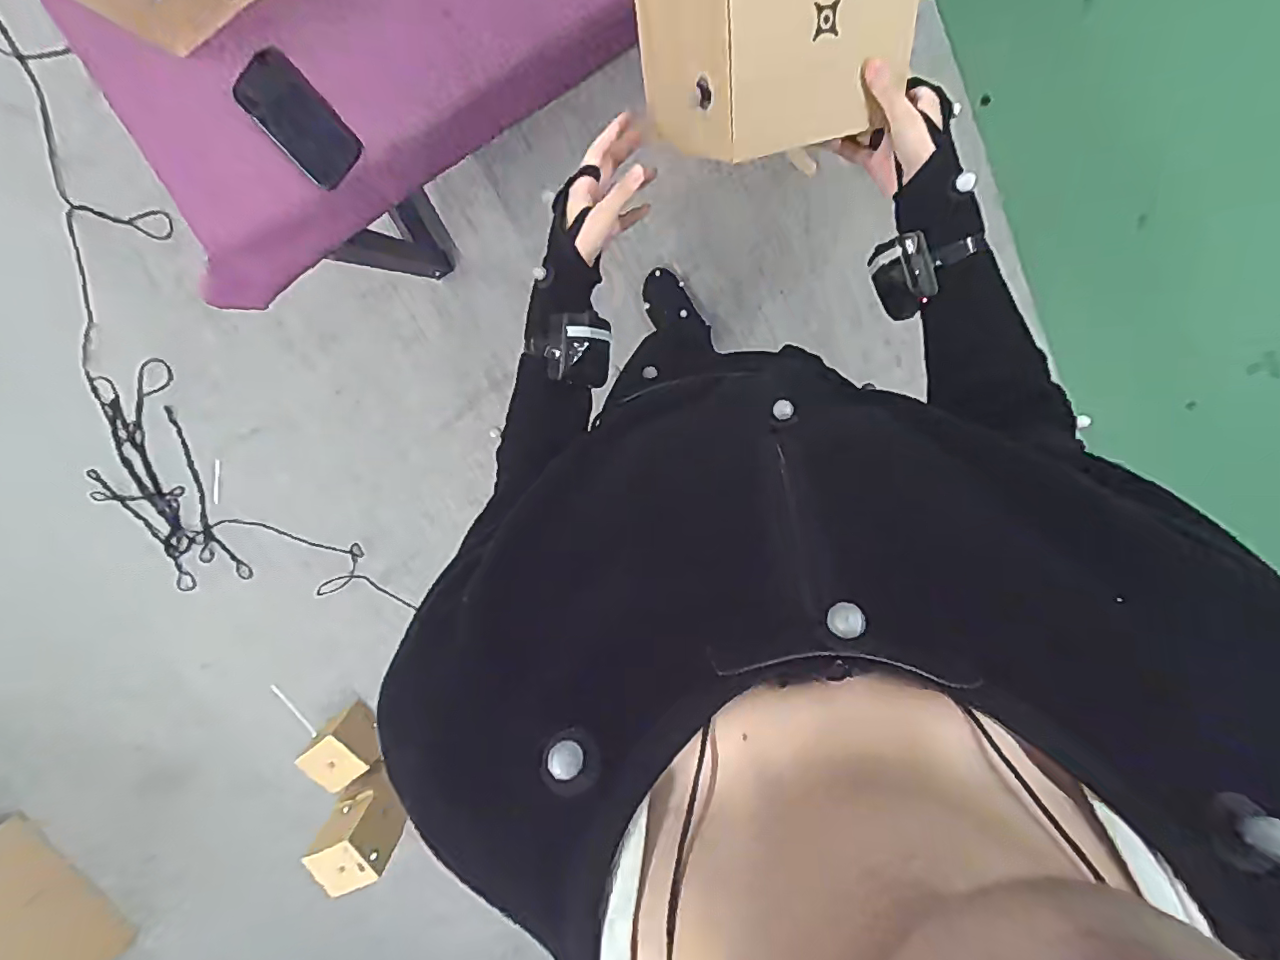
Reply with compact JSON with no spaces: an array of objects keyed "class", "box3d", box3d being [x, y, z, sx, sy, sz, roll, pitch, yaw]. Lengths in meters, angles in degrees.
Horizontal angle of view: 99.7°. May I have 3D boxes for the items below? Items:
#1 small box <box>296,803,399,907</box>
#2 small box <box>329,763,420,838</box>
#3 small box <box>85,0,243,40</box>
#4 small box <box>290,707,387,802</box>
[{"class":"small box","box3d":[-0.865,1.114,1.616,0.179,0.176,0.168,-26,104,10]},{"class":"small box","box3d":[-0.862,1.064,1.772,0.168,0.176,0.179,-27,104,10]},{"class":"small box","box3d":[-0.520,-0.591,0.536,0.168,0.176,0.179,-28,102,10]},{"class":"small box","box3d":[-0.950,0.868,1.721,0.179,0.176,0.168,-37,102,11]}]
